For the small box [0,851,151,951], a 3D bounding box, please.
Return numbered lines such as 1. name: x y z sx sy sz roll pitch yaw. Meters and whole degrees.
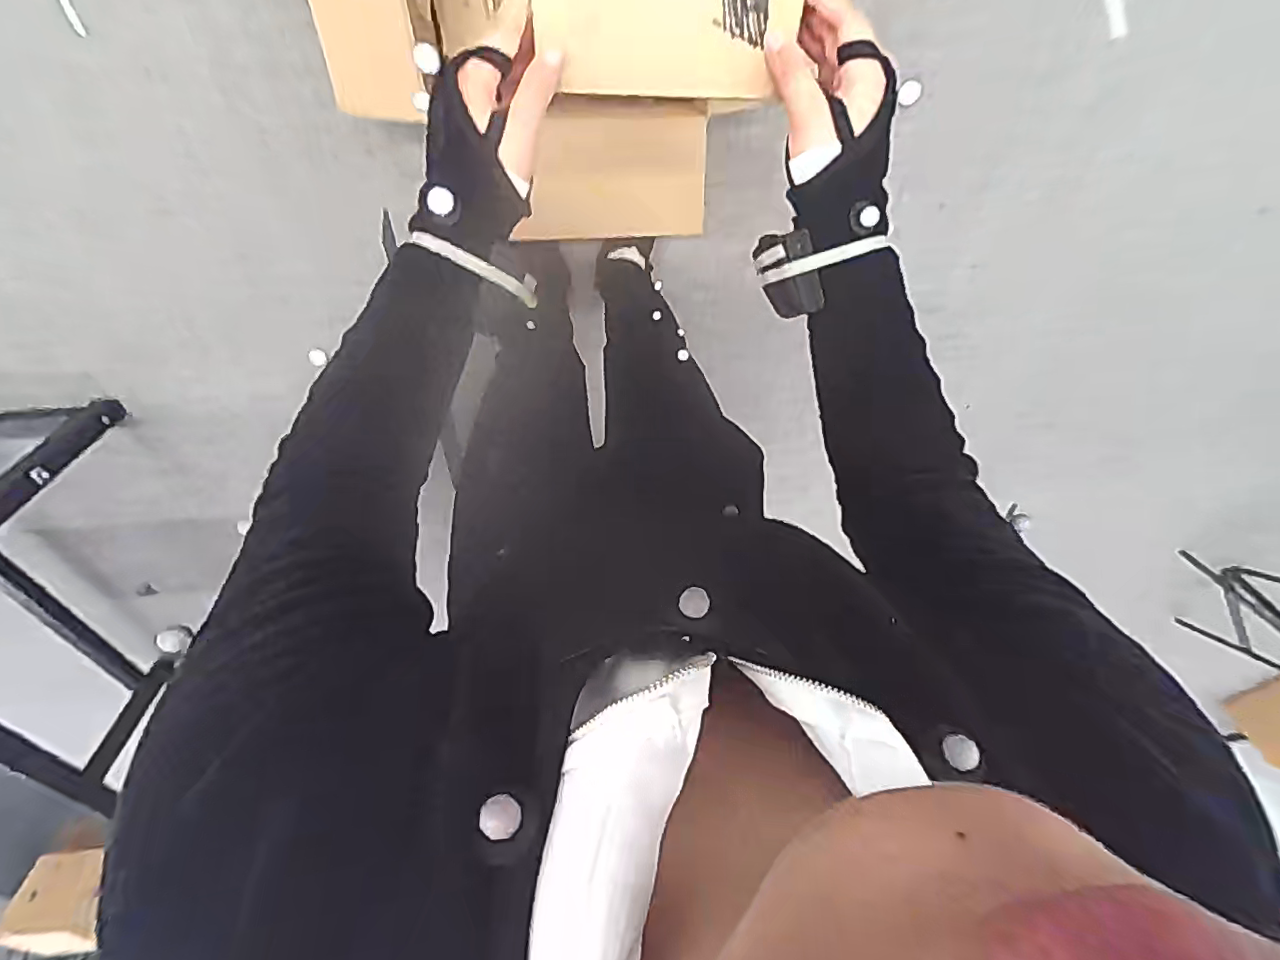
1. small box: -1.406 1.050 1.356 0.168 0.176 0.179 -5 132 0
